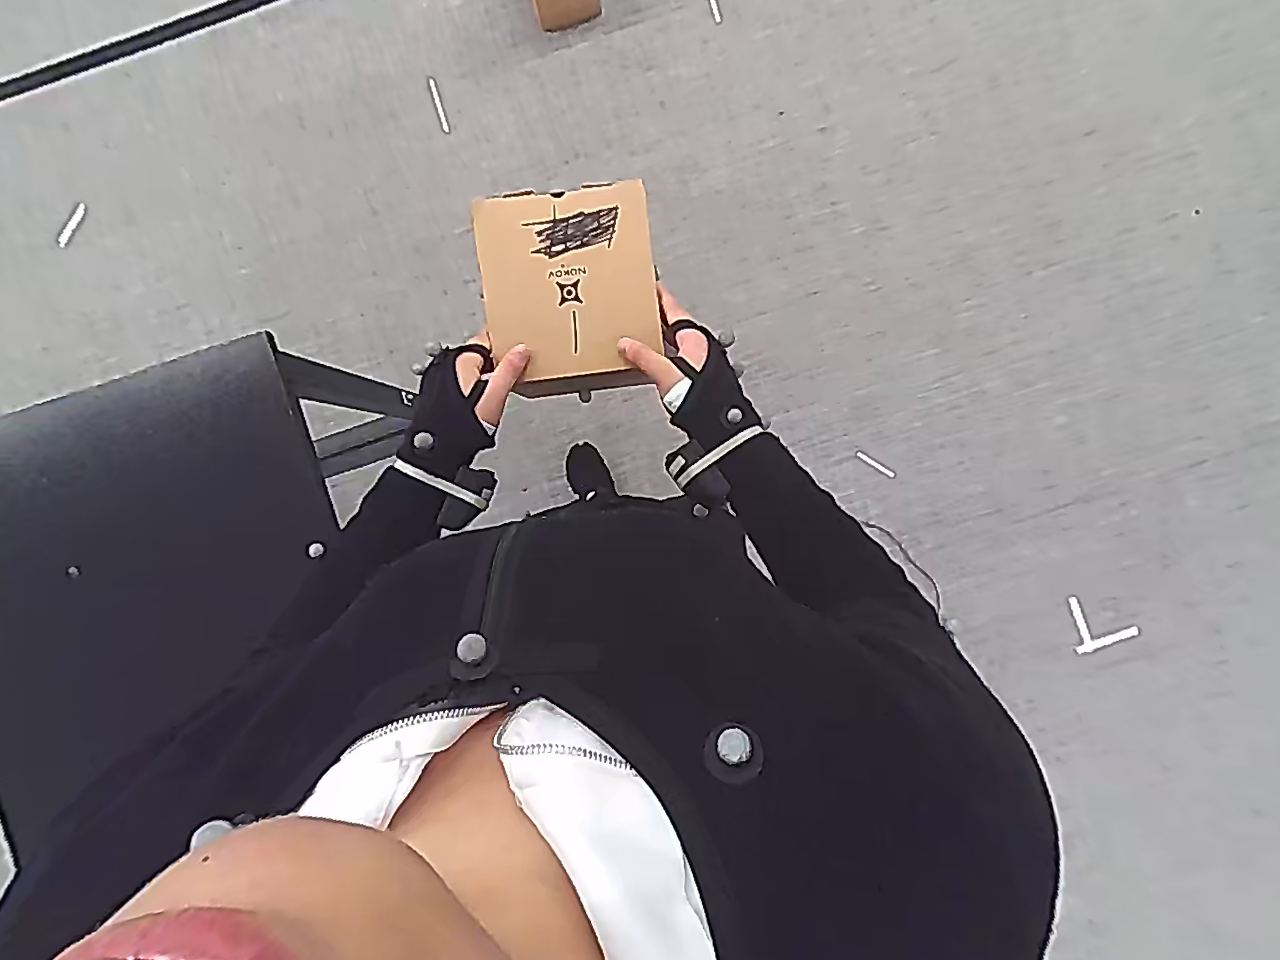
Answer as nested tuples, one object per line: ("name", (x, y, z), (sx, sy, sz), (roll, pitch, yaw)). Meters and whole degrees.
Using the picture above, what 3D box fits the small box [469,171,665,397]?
("small box", (-0.069, -0.196, 0.588), (0.168, 0.176, 0.179), (-9, 93, 0))

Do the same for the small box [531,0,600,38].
("small box", (-0.208, -1.316, 1.409), (0.179, 0.176, 0.168), (-18, 89, 2))
